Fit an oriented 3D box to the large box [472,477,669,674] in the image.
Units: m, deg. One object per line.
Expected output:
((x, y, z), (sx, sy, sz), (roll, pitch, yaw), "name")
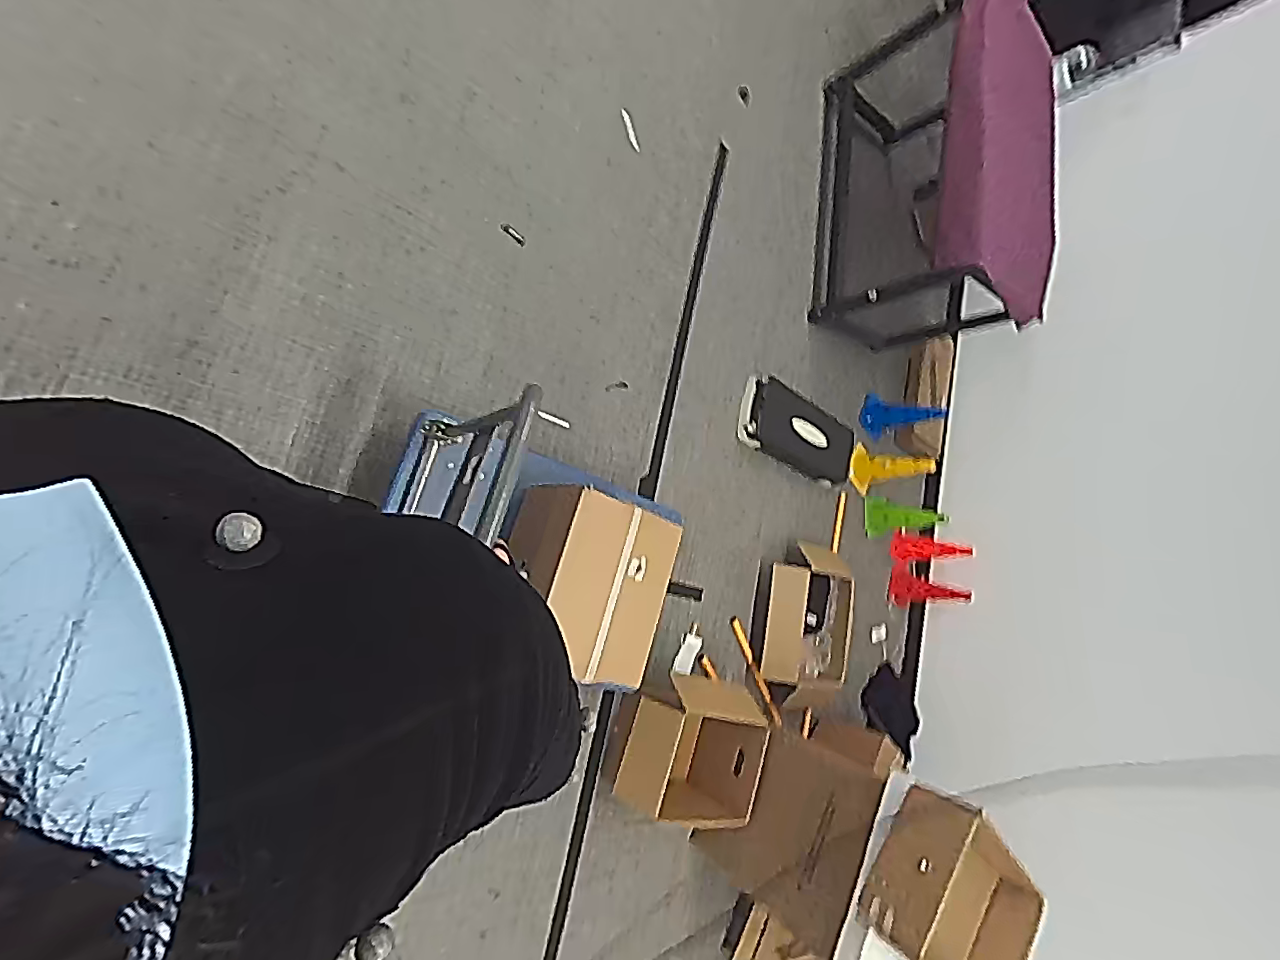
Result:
((-0.178, 0.234, 1.373), (0.320, 0.320, 0.408), (26, 74, -35), "large box")
